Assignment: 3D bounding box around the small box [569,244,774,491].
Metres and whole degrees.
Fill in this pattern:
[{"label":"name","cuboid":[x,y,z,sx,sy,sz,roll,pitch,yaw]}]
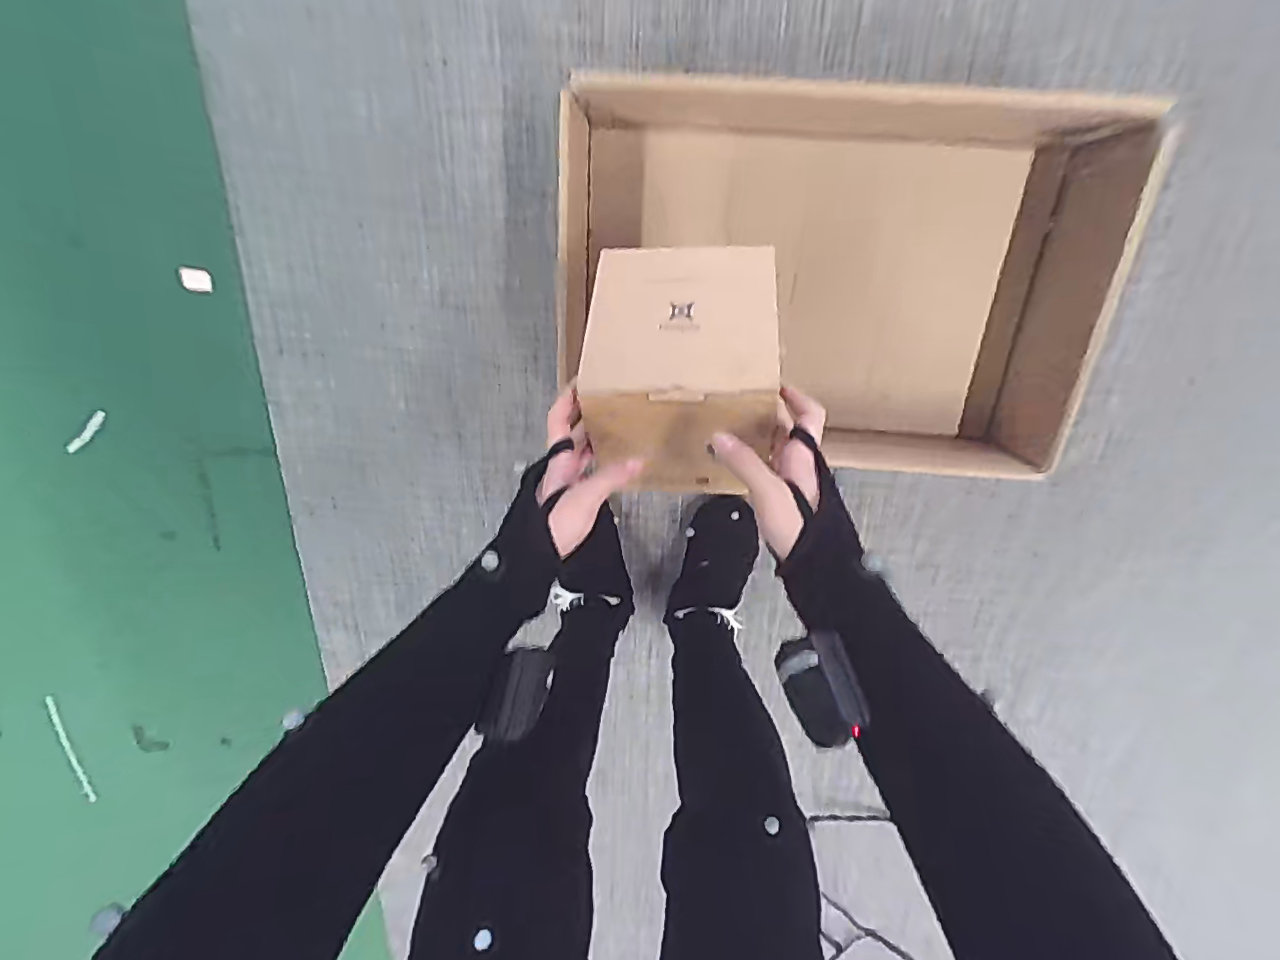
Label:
[{"label":"small box","cuboid":[0.040,-0.101,0.530,0.168,0.179,0.176,2,151,7]}]
